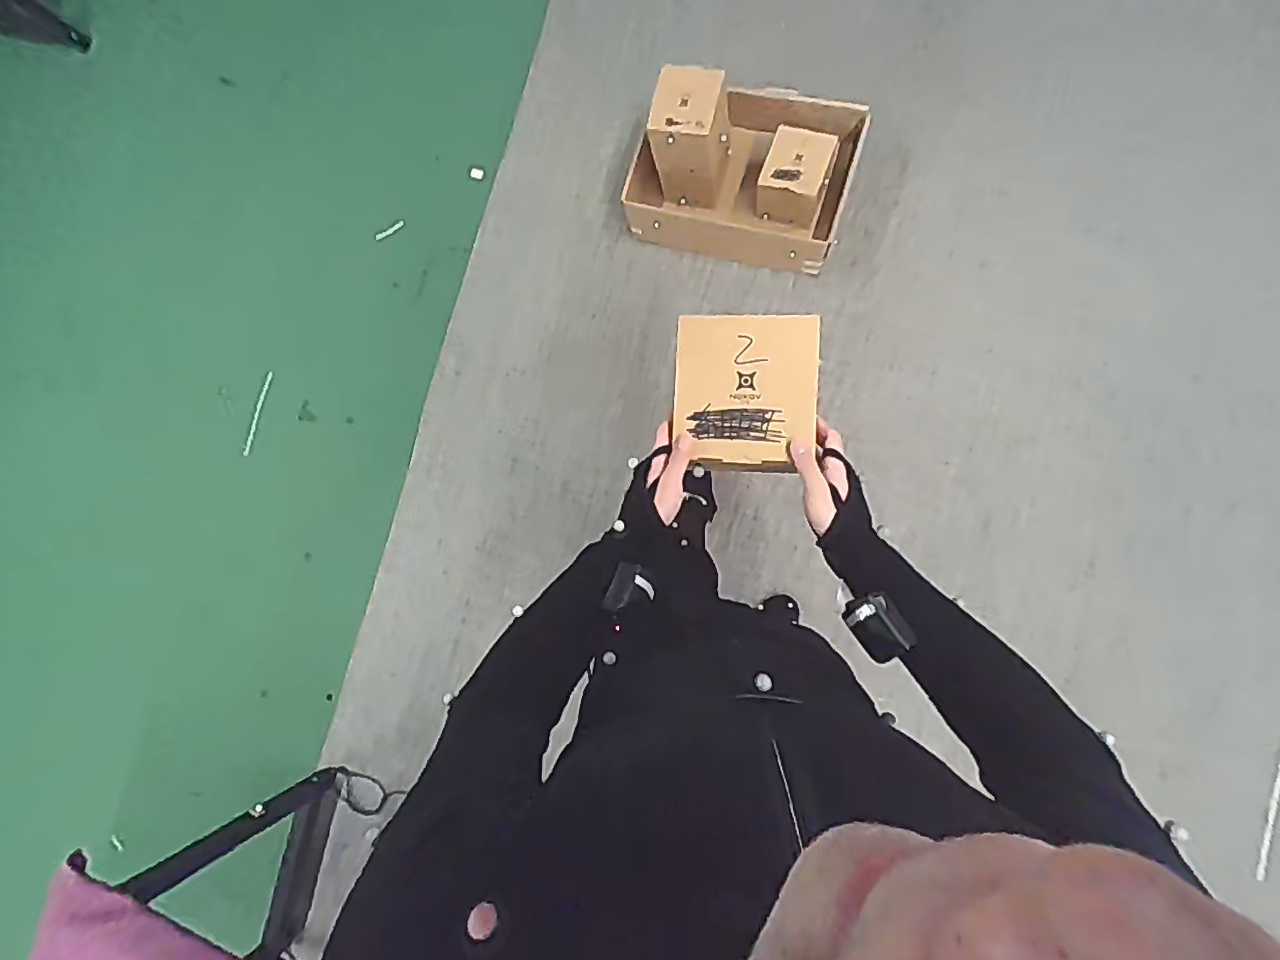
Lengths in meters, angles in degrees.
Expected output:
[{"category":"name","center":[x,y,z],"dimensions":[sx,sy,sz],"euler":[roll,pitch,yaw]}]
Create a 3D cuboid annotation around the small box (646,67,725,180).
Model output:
[{"category":"small box","center":[0.127,-0.940,1.434],"dimensions":[0.168,0.176,0.179],"euler":[14,87,12]}]
